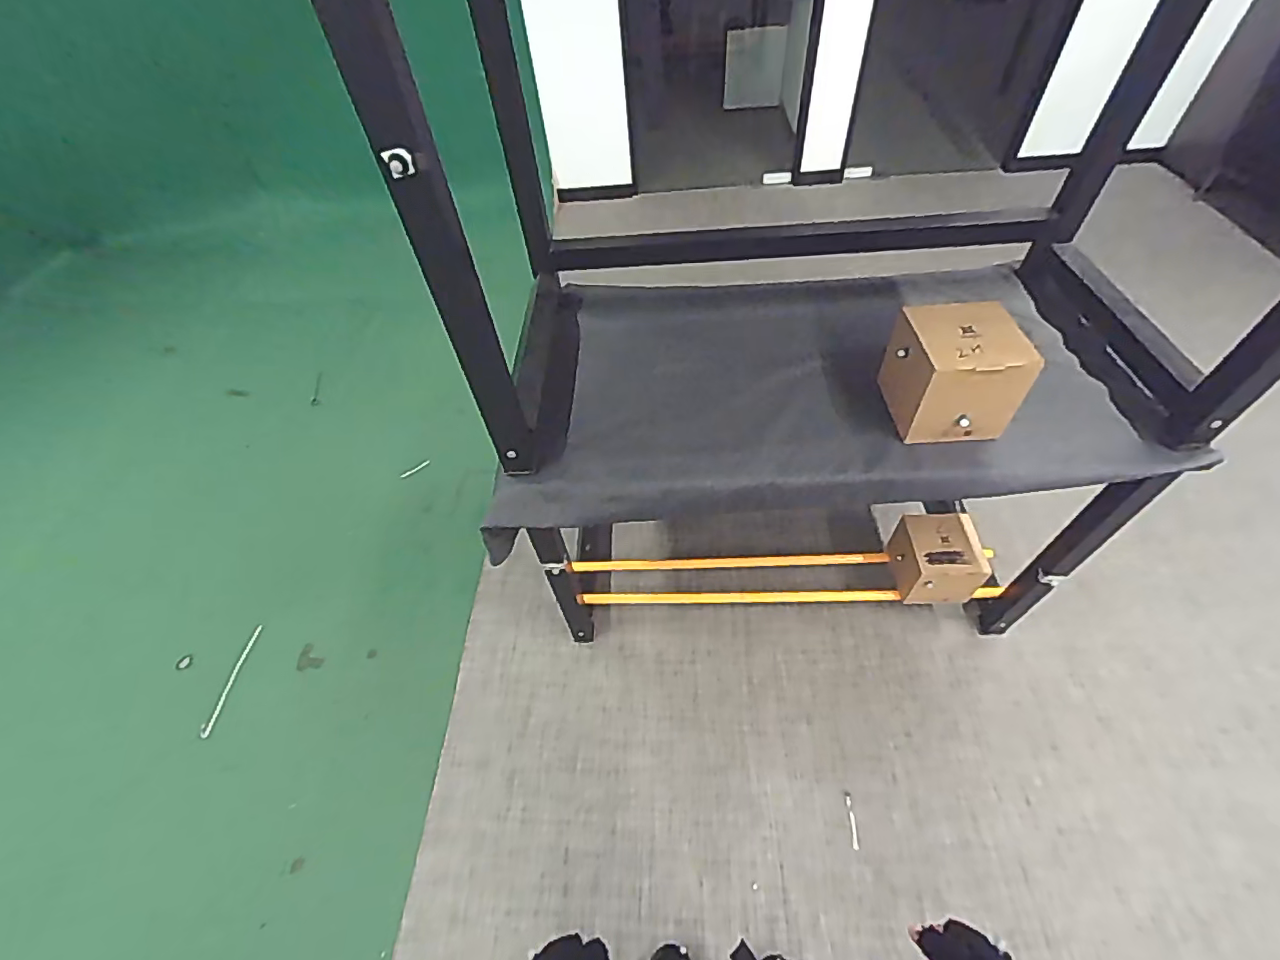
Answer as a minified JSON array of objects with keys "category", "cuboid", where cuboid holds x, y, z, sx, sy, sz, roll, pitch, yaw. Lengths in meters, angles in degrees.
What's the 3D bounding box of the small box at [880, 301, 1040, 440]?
[{"category":"small box","cuboid":[0.543,-0.191,0.952,0.168,0.176,0.179,-3,50,4]}]
